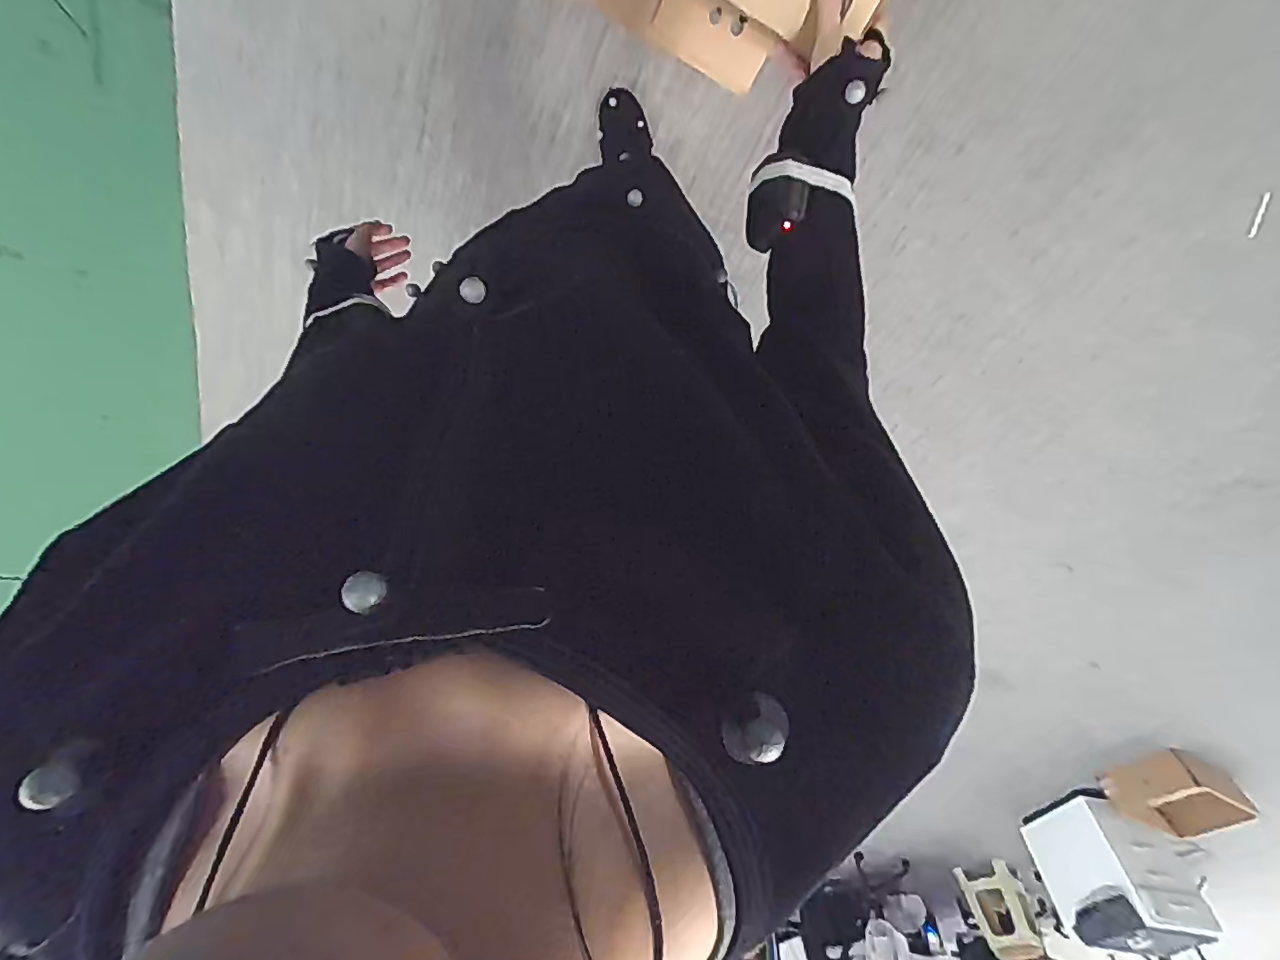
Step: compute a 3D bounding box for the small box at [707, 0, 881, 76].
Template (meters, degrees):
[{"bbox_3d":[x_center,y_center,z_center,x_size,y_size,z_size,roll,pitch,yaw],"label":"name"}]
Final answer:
[{"bbox_3d":[0.139,-0.501,0.478,0.179,0.176,0.168,22,128,-14],"label":"small box"}]
